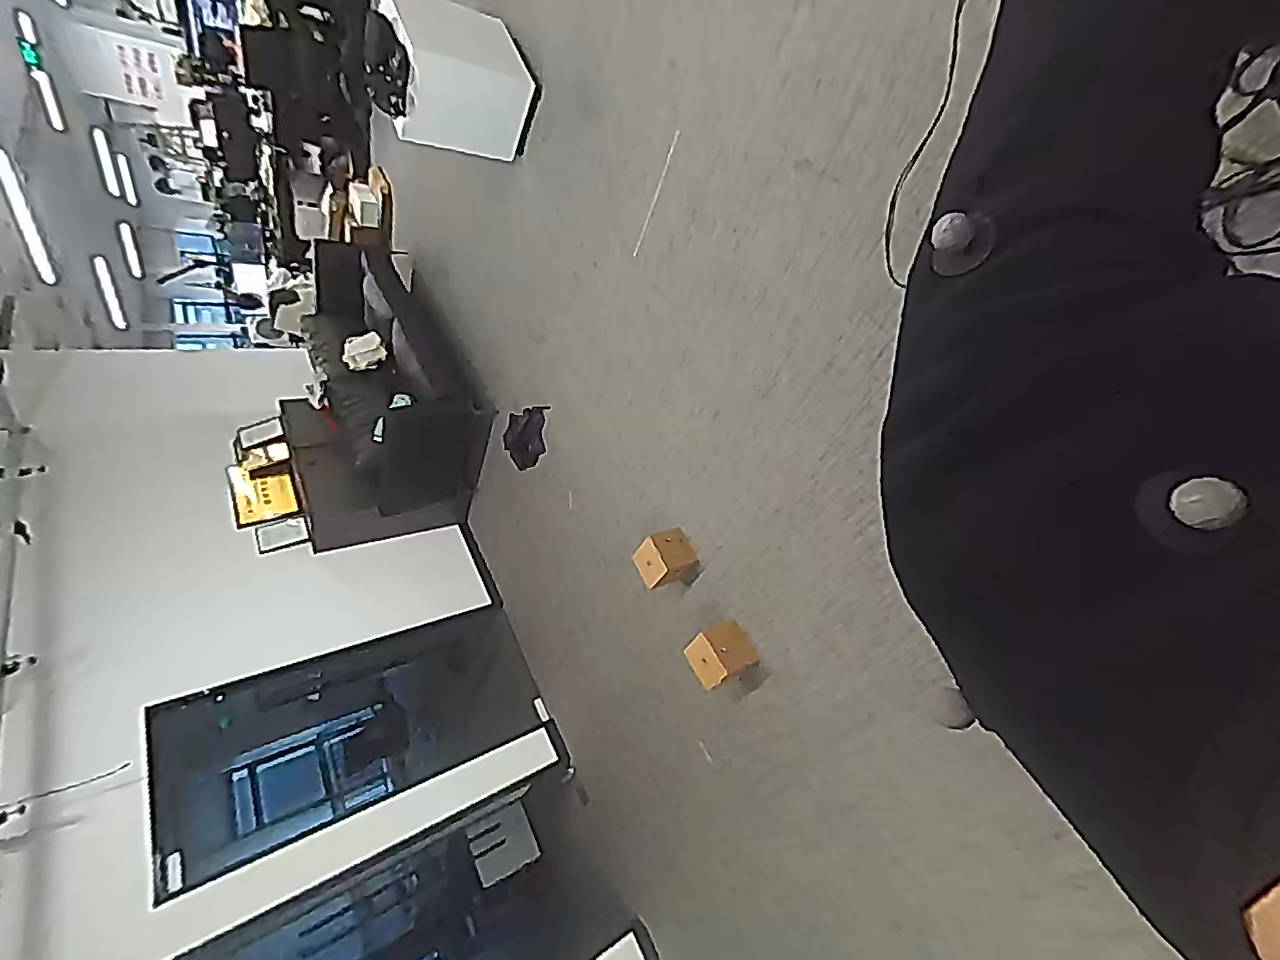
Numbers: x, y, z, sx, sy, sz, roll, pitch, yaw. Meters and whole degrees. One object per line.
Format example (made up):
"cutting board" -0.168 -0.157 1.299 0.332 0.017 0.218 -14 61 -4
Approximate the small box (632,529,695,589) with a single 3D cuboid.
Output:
"small box" 0.102 0.319 2.214 0.168 0.176 0.179 60 141 26

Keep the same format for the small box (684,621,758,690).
"small box" 0.304 0.649 2.025 0.179 0.176 0.168 56 138 28
